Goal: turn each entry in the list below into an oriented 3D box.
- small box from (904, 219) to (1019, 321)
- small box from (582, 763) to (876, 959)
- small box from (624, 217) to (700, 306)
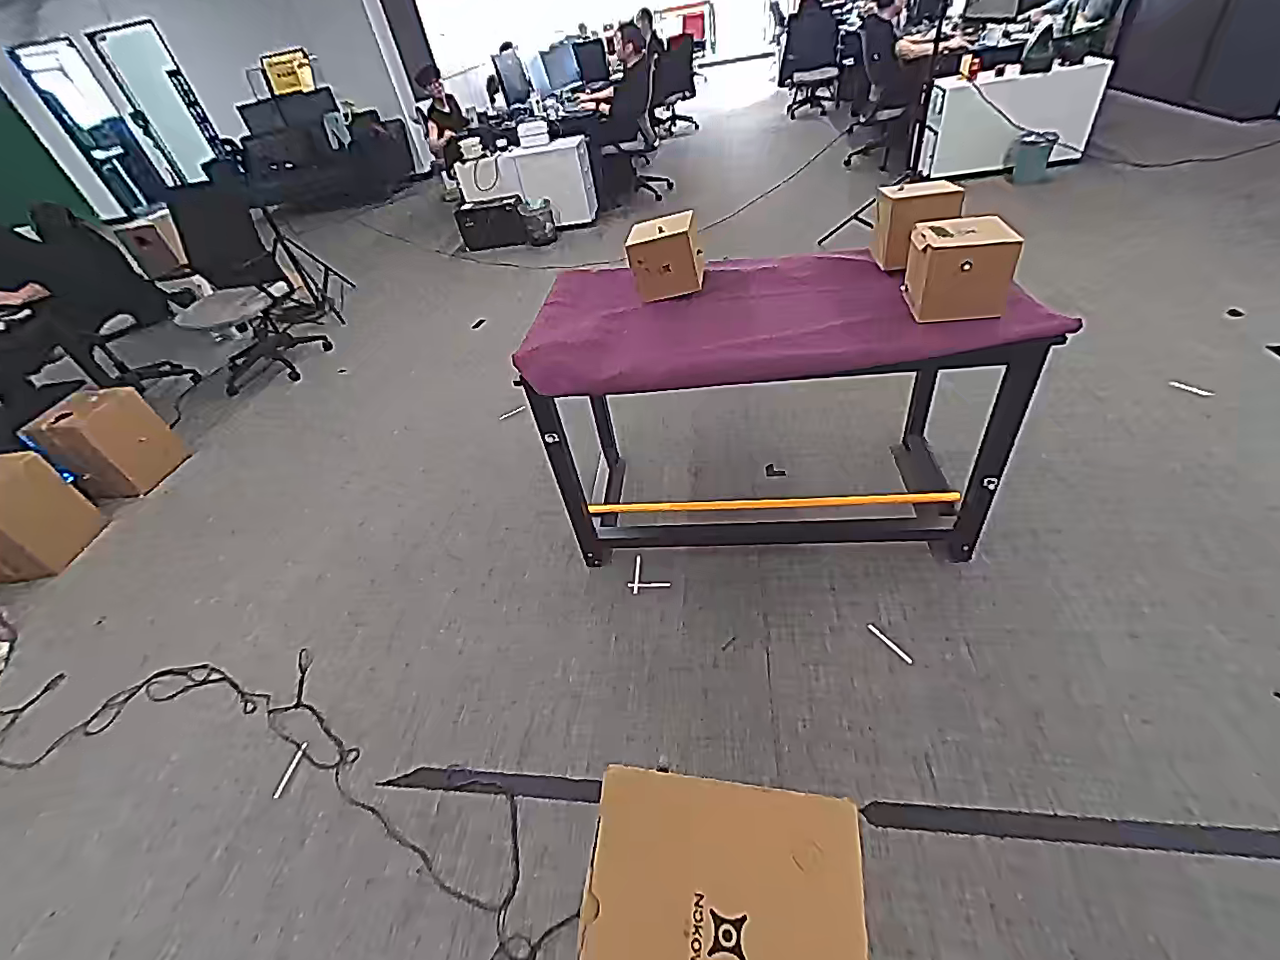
[{"bbox_3d":[0.708,-0.470,1.220,0.179,0.176,0.168,-1,41,12],"label":"small box"},{"bbox_3d":[0.063,0.316,0.396,0.179,0.176,0.168,2,57,10],"label":"small box"},{"bbox_3d":[0.070,-0.616,1.517,0.179,0.168,0.176,-6,40,17],"label":"small box"}]
